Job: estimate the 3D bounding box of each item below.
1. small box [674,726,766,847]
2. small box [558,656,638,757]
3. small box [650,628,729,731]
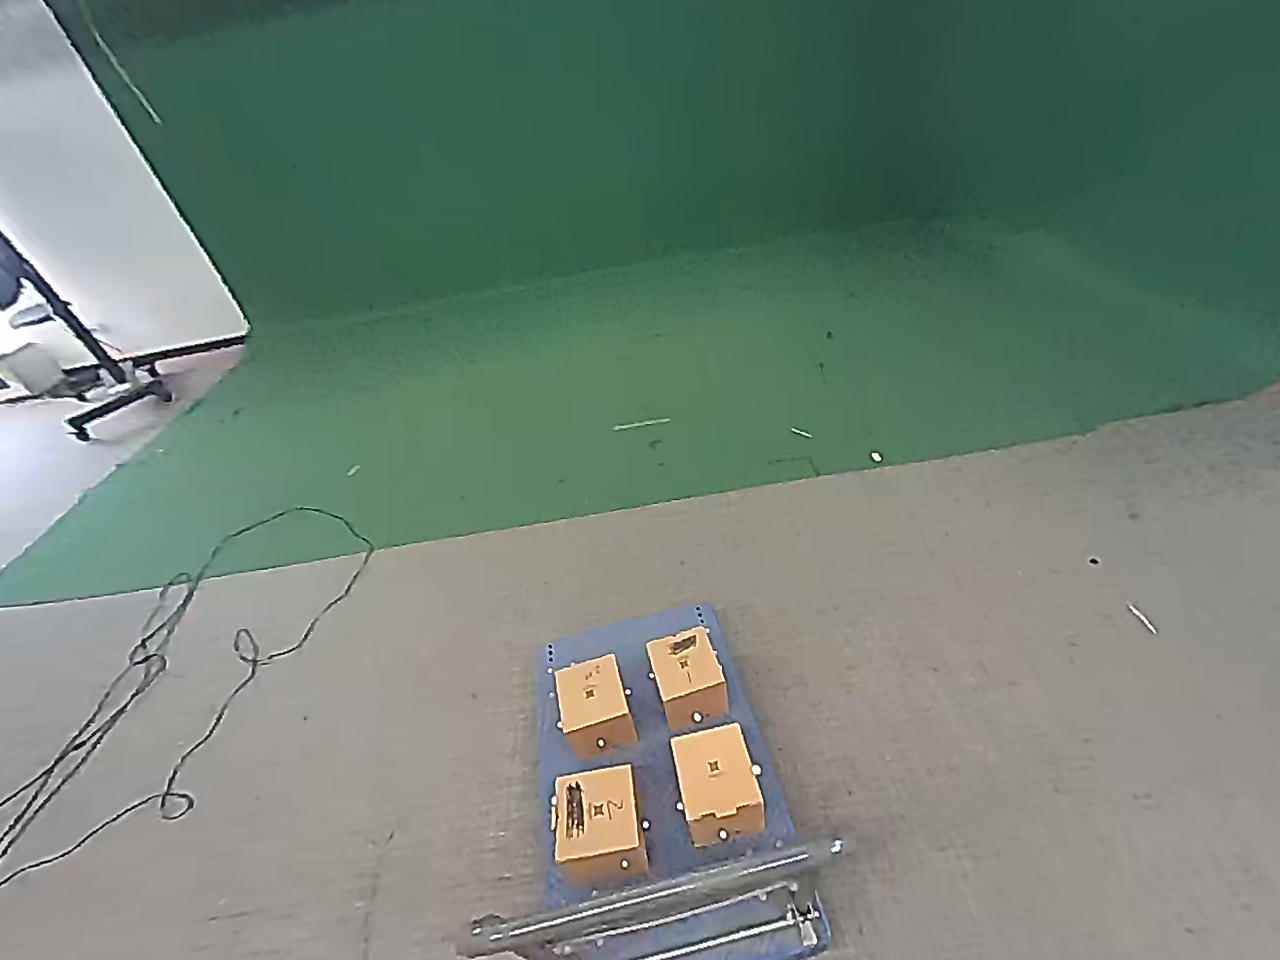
[{"bbox_3d":[0.179,0.700,1.236,0.168,0.176,0.179,-12,40,-2],"label":"small box"},{"bbox_3d":[-0.109,0.602,1.421,0.168,0.176,0.179,-15,40,-6],"label":"small box"},{"bbox_3d":[0.132,0.534,1.444,0.168,0.176,0.179,-16,41,-4],"label":"small box"}]
